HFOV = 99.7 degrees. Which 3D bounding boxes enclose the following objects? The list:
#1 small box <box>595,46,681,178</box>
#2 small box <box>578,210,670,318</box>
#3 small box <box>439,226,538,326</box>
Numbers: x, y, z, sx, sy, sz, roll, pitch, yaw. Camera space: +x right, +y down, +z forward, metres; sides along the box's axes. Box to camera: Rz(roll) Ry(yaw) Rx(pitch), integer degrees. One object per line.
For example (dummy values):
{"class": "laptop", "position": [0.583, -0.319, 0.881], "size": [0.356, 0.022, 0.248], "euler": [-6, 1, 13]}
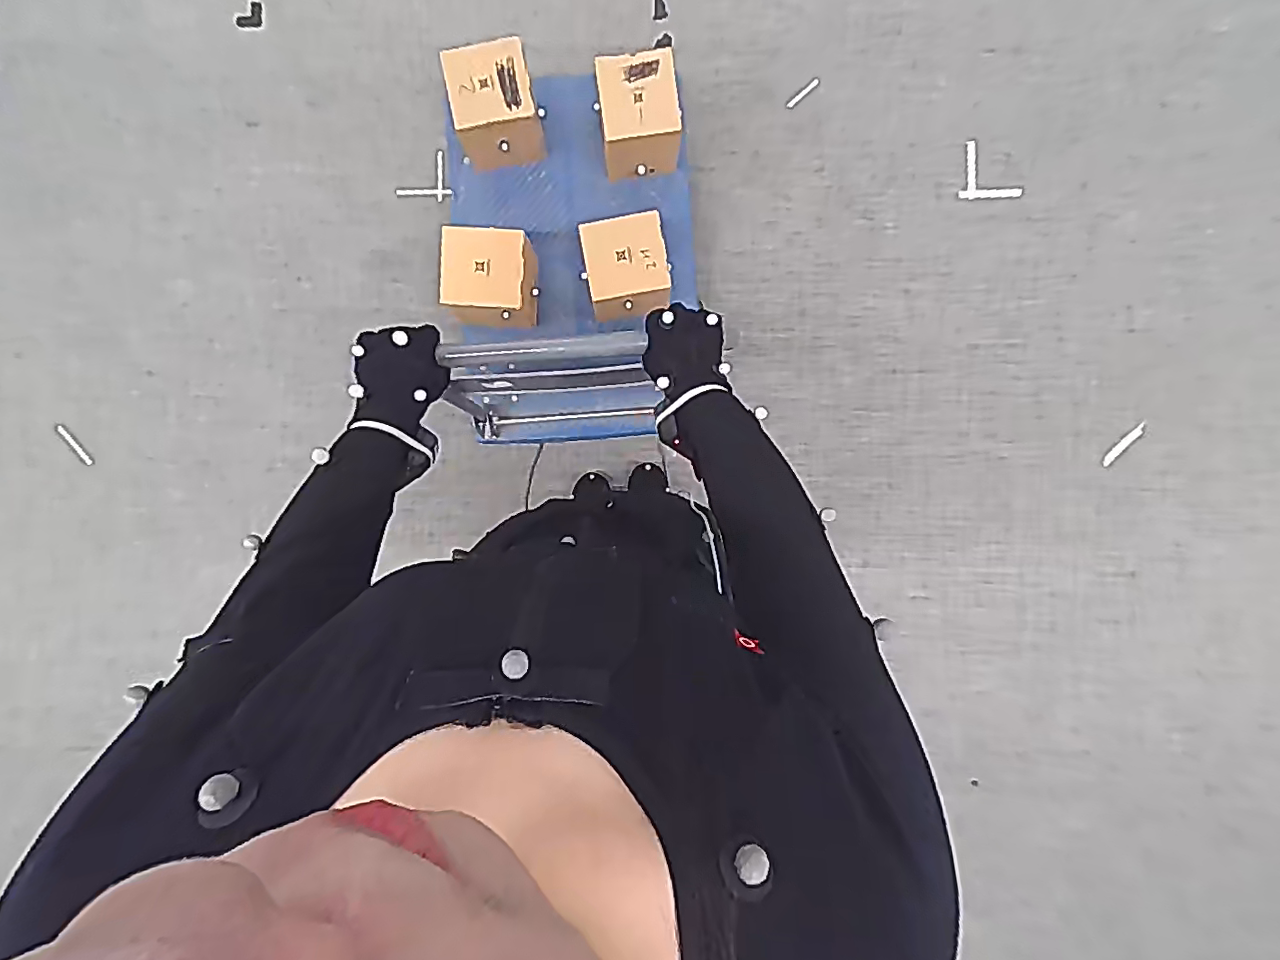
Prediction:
{"class": "small box", "position": [-0.005, -0.813, 1.208], "size": [0.168, 0.176, 0.179], "euler": [-8, 93, 0]}
{"class": "small box", "position": [-0.032, -0.477, 1.219], "size": [0.179, 0.176, 0.168], "euler": [-10, 92, 1]}
{"class": "small box", "position": [-0.335, -0.453, 1.221], "size": [0.179, 0.176, 0.168], "euler": [2, 92, -1]}
